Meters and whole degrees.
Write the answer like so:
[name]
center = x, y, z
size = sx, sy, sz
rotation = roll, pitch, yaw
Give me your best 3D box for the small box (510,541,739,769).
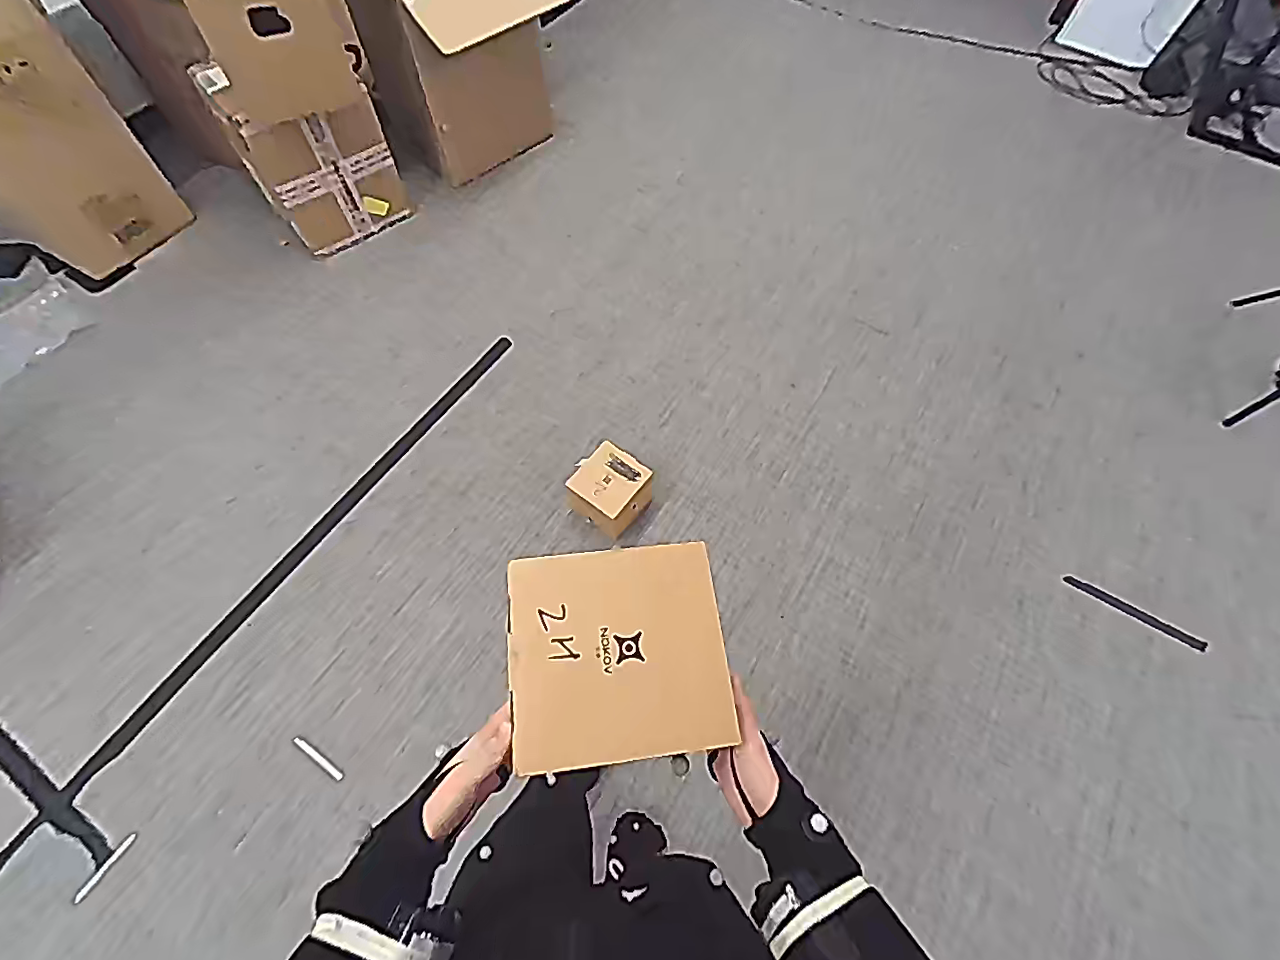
[small box]
center = -0.023, 0.165, 0.512
size = 0.179, 0.176, 0.168
rotation = -5, 66, -7
